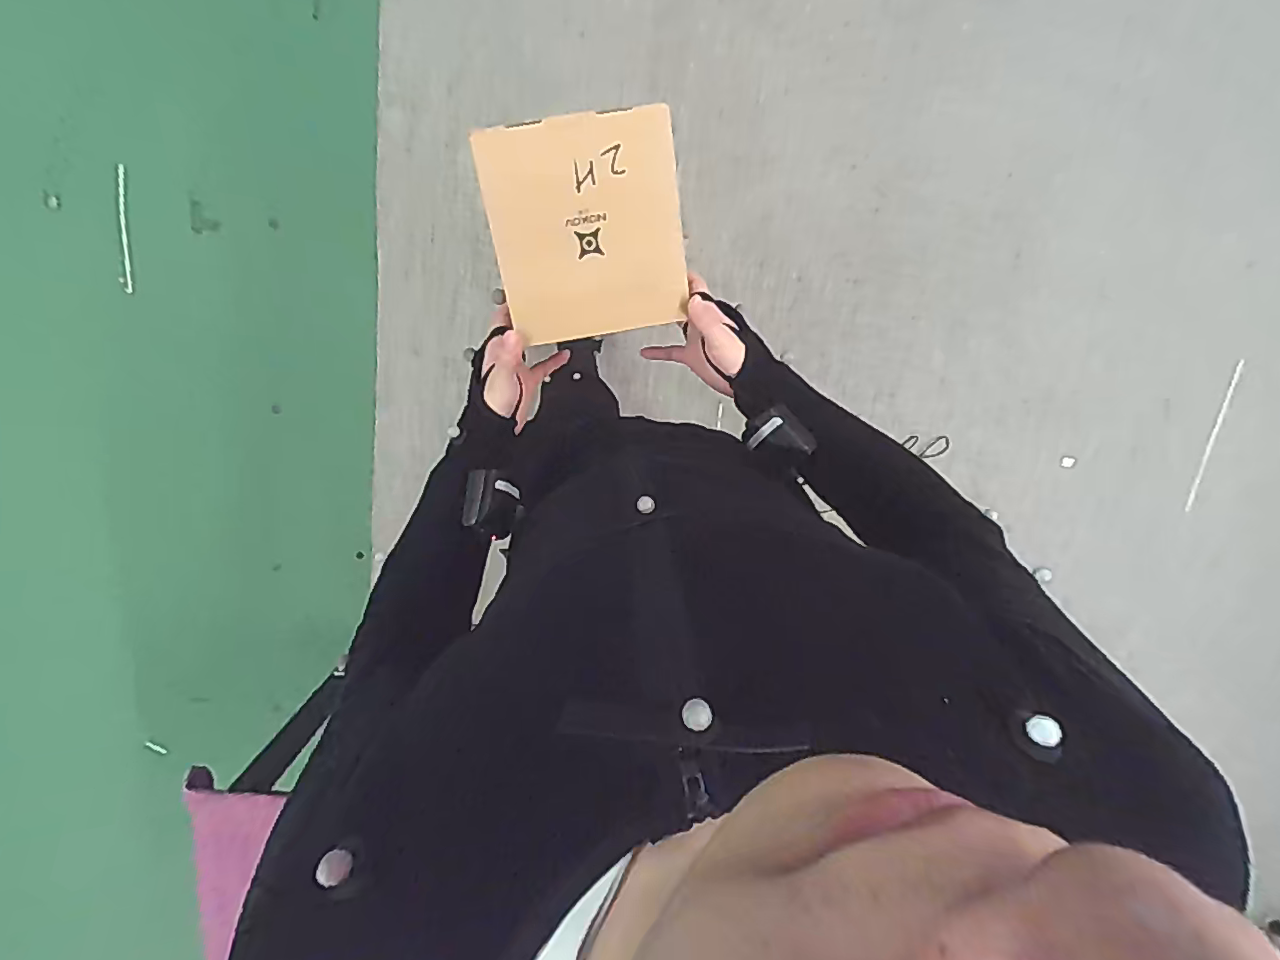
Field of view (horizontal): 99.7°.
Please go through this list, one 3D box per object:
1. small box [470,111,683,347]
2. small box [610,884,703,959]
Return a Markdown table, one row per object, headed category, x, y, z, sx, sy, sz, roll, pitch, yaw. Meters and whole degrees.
| category | x | y | z | sx | sy | sz | roll | pitch | yaw |
| --- | --- | --- | --- | --- | --- | --- | --- | --- | --- |
| small box | -0.057 | -0.242 | 0.546 | 0.168 | 0.176 | 0.179 | -10 | 111 | -4 |
| small box | 0.028 | 0.898 | 1.005 | 0.168 | 0.176 | 0.179 | 0 | 104 | -2 |
